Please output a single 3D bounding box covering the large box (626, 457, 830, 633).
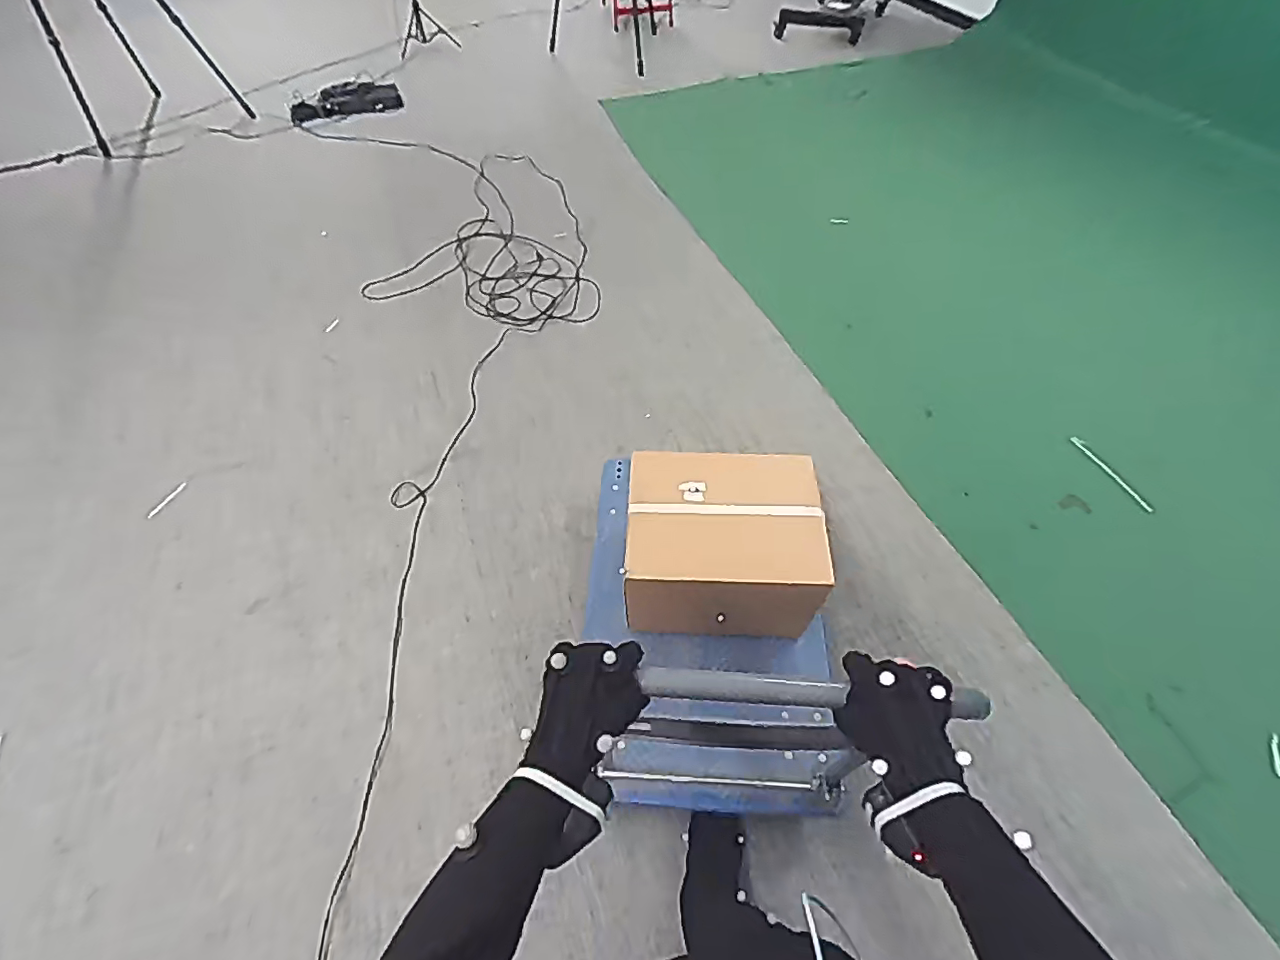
[{"bbox_3d":[0.180,0.159,1.256,0.408,0.320,0.320,1,55,2],"label":"large box"}]
